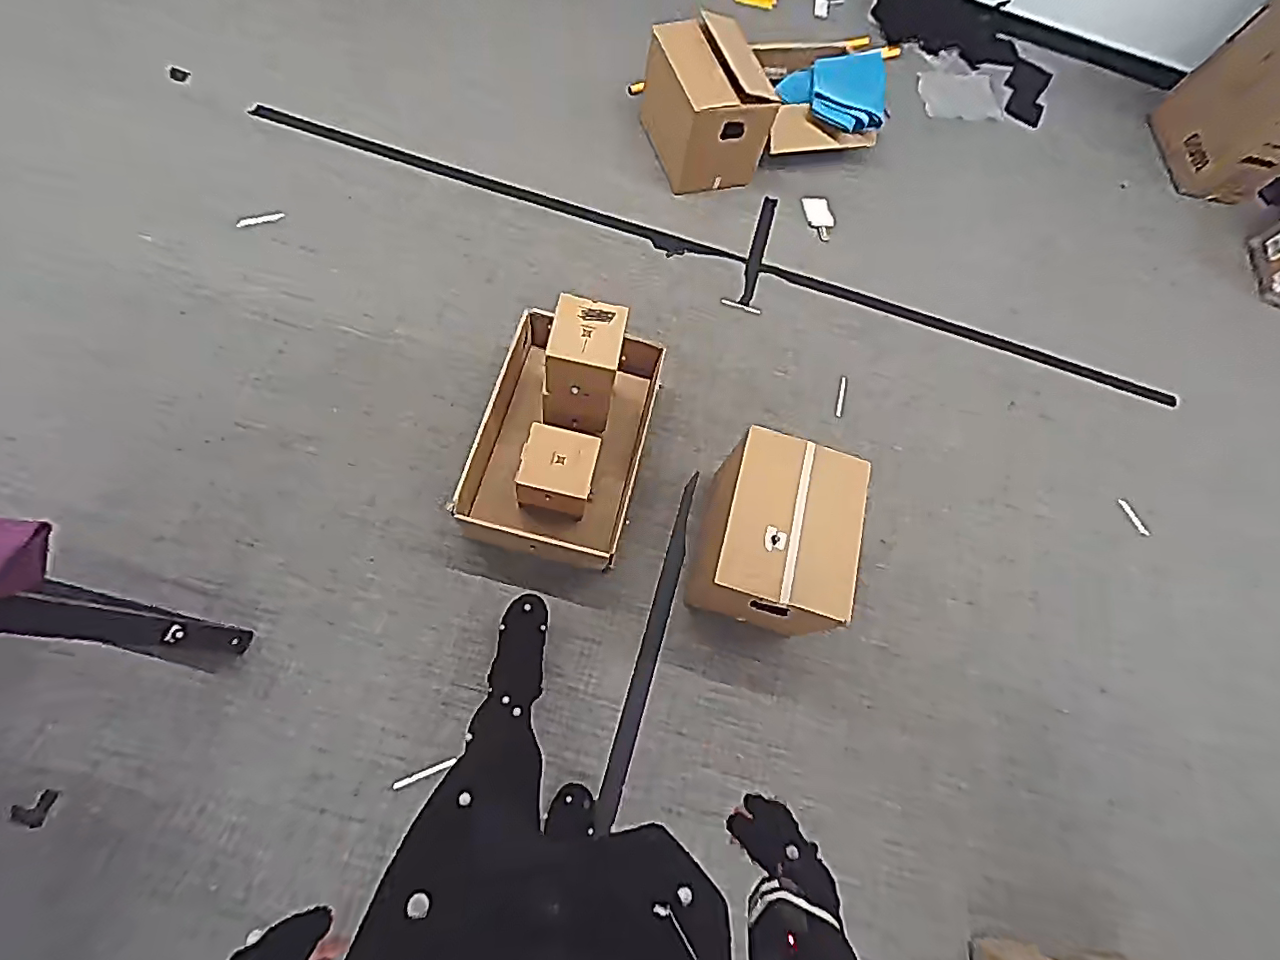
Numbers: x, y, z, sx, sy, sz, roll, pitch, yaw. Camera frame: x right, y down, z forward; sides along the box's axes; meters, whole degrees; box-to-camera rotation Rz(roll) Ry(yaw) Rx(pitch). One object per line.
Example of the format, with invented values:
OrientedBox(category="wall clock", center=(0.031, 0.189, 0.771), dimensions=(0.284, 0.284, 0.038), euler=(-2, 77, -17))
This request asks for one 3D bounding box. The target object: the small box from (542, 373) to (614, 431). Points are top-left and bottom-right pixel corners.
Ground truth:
OrientedBox(category="small box", center=(-0.164, -0.244, 1.457), dimensions=(0.179, 0.176, 0.168), euler=(8, 69, -6))

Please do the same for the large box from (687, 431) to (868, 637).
OrientedBox(category="large box", center=(0.337, 0.149, 1.364), dimensions=(0.320, 0.320, 0.408), euler=(17, 69, -1))

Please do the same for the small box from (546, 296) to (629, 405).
OrientedBox(category="small box", center=(-0.129, -0.308, 1.308), dimensions=(0.168, 0.176, 0.179), euler=(11, 70, -4))
